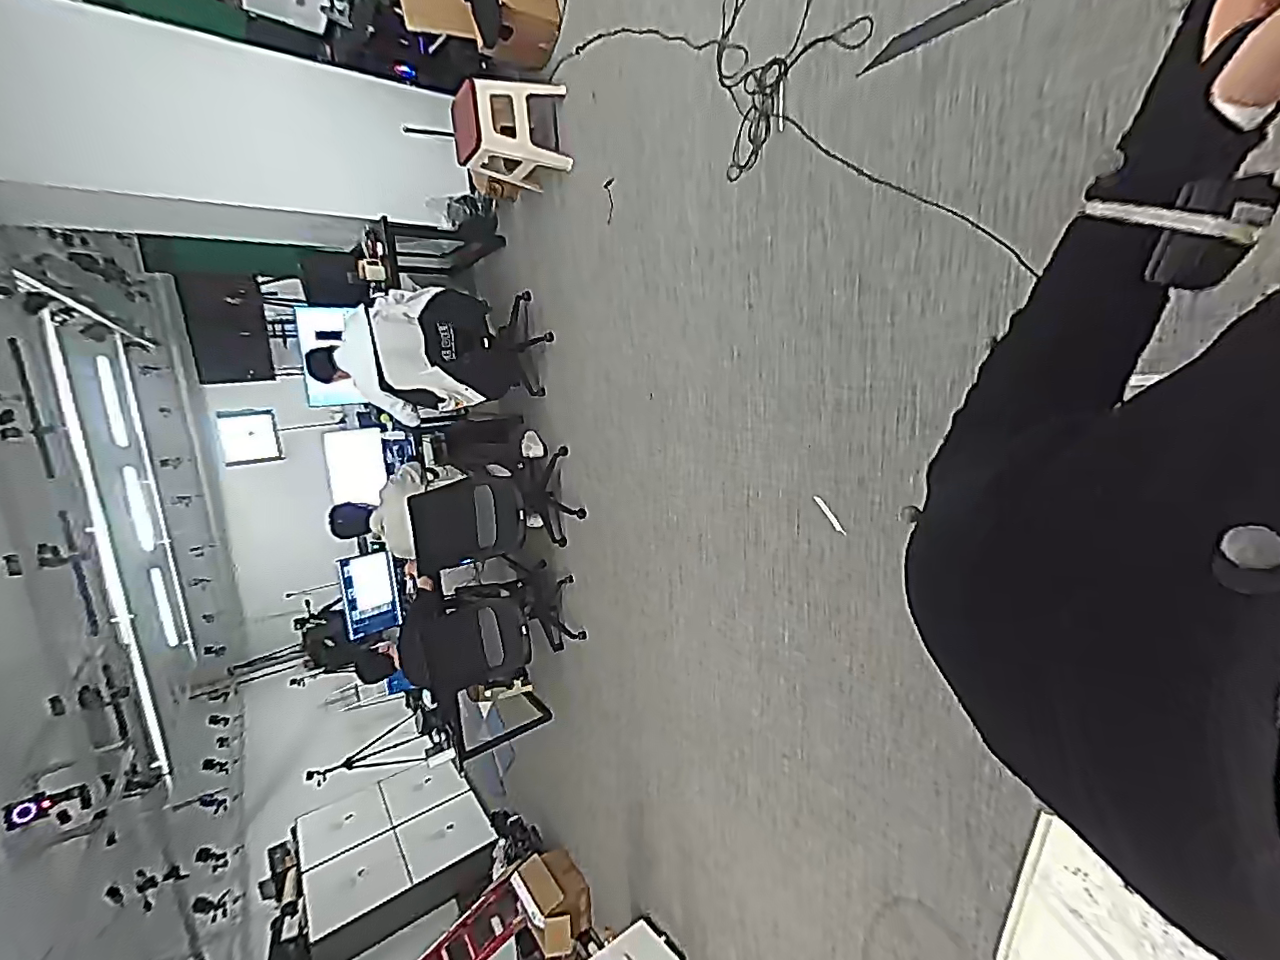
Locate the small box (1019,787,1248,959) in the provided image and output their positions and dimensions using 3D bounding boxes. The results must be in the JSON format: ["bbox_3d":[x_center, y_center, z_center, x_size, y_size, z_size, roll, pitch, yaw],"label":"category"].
[{"bbox_3d":[0.643,0.557,0.710,0.168,0.176,0.179,25,118,51],"label":"small box"}]
